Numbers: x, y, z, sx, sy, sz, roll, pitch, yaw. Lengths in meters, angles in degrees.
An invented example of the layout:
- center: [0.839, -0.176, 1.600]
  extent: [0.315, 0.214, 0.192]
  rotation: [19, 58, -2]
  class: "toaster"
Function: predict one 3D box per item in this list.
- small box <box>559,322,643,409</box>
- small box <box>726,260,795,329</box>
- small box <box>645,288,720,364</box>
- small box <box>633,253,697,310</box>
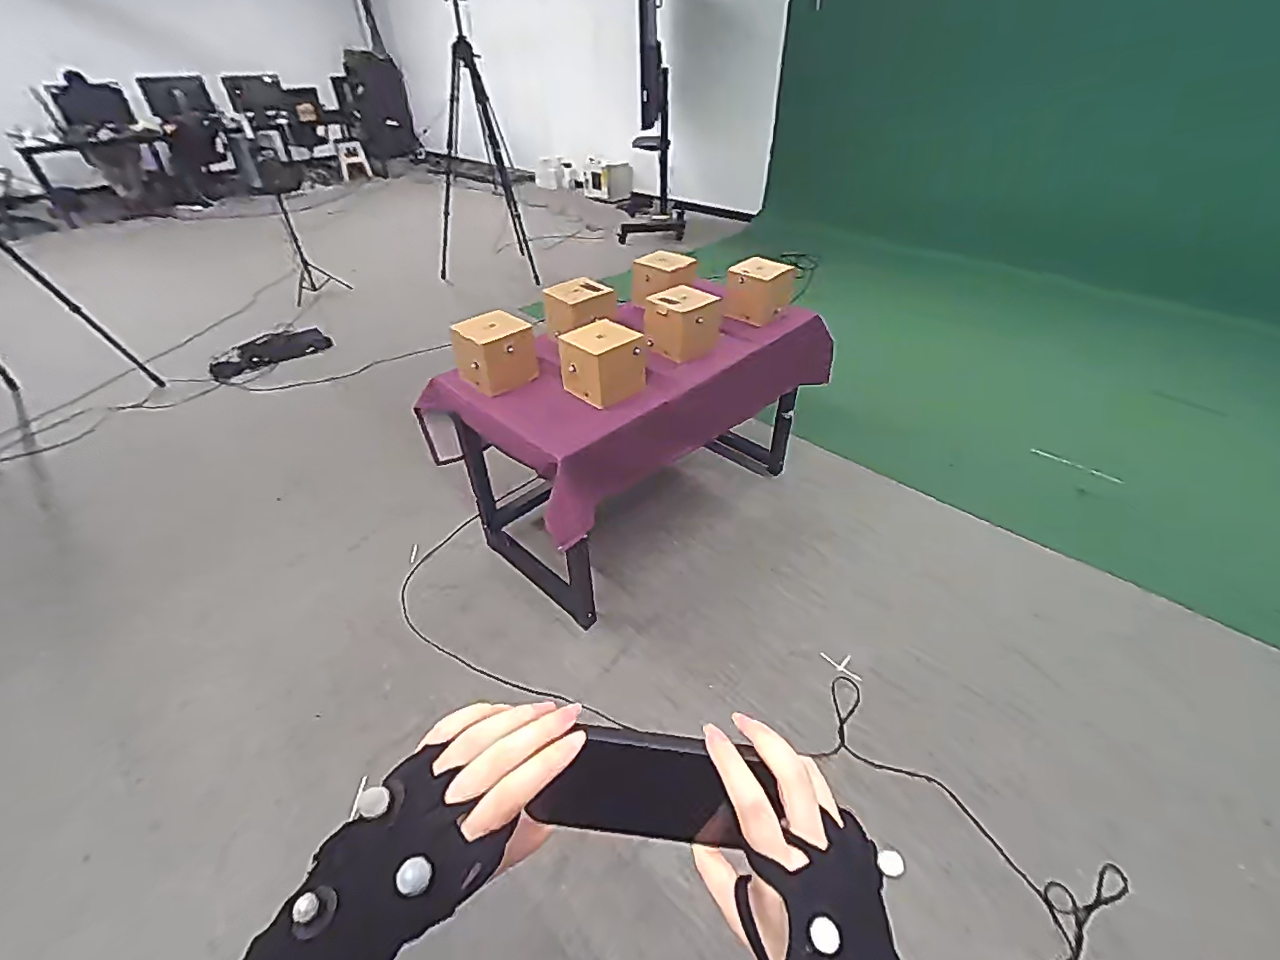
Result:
- center: [-0.102, -0.321, 1.519]
  extent: [0.179, 0.176, 0.168]
  rotation: [-31, 48, -33]
  class: "small box"
- center: [0.421, -0.660, 1.921]
  extent: [0.168, 0.176, 0.179]
  rotation: [30, 48, 33]
  class: "small box"
- center: [0.134, -0.489, 1.719]
  extent: [0.179, 0.176, 0.168]
  rotation: [-30, 47, -32]
  class: "small box"
- center: [0.090, -0.720, 2.000]
  extent: [0.179, 0.176, 0.168]
  rotation: [29, 49, 31]
  class: "small box"
